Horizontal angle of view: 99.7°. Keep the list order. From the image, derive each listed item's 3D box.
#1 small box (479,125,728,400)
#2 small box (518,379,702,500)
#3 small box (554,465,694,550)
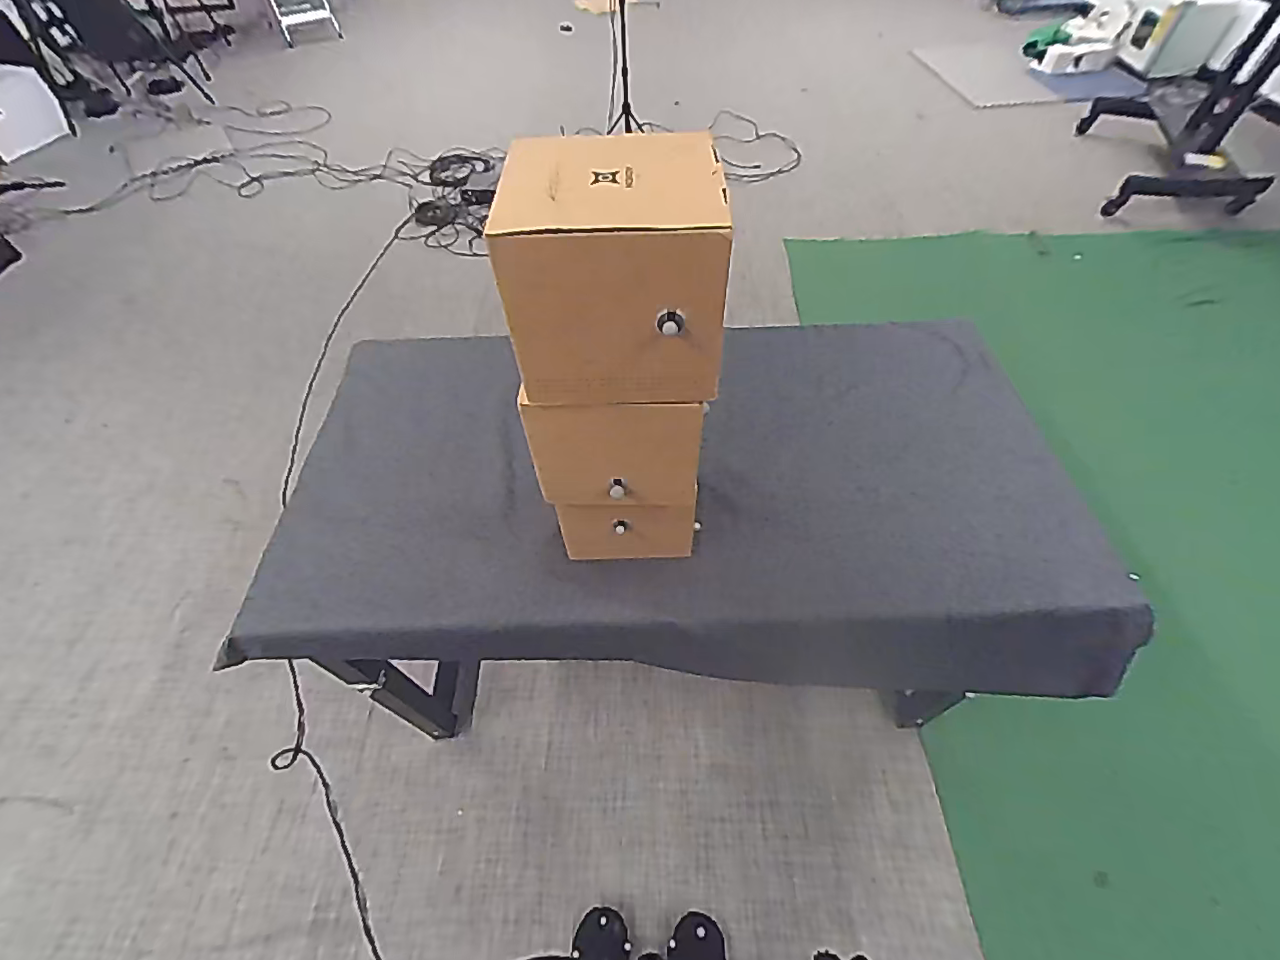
[{"bbox_3d":[-0.024,-0.187,0.484,0.179,0.176,0.168,-3,53,2],"label":"small box"},{"bbox_3d":[-0.028,-0.090,0.618,0.179,0.176,0.168,-3,55,1],"label":"small box"},{"bbox_3d":[-0.020,-0.013,0.759,0.179,0.176,0.168,-2,54,2],"label":"small box"}]
